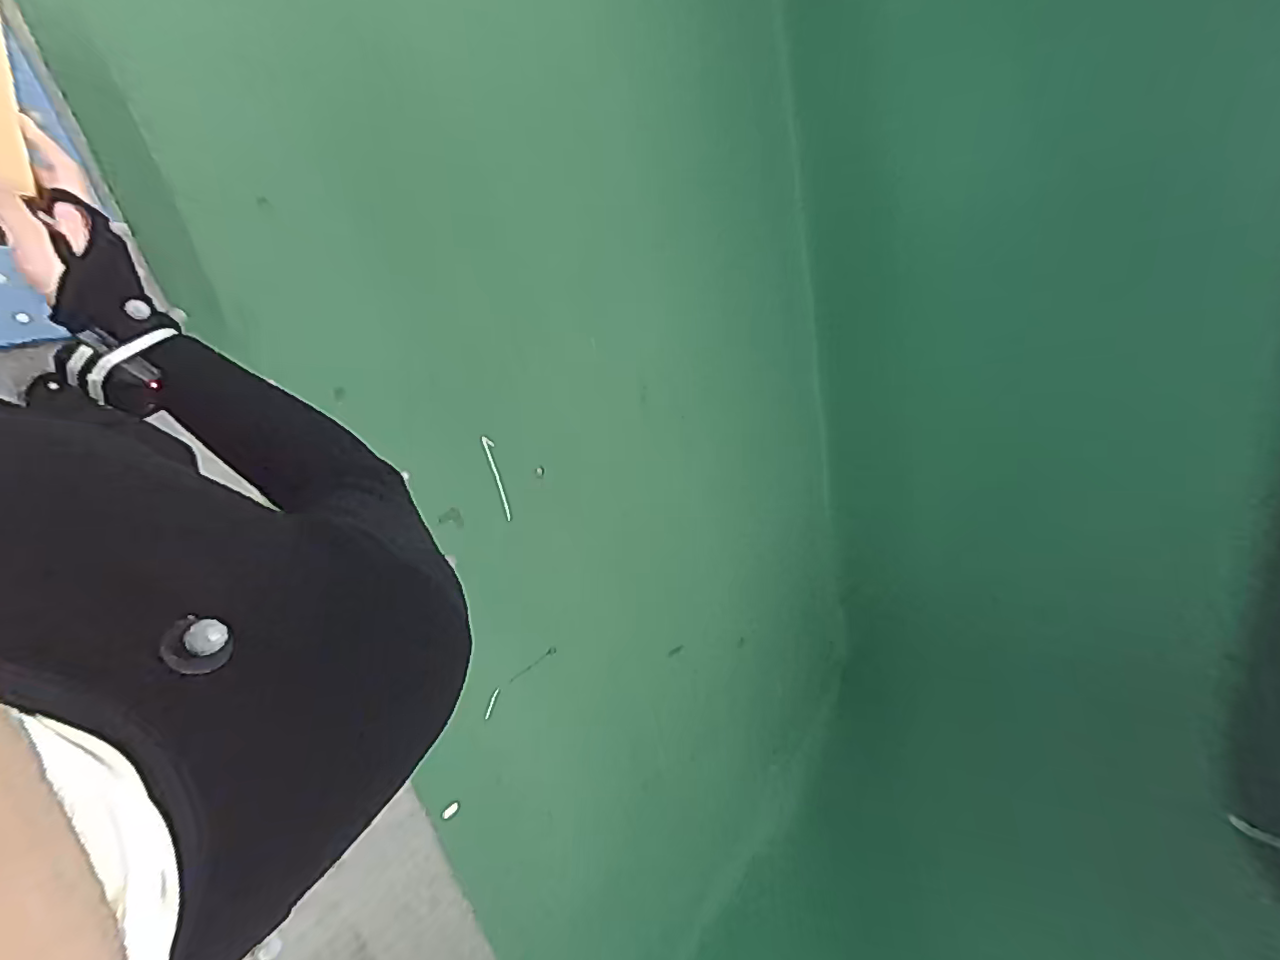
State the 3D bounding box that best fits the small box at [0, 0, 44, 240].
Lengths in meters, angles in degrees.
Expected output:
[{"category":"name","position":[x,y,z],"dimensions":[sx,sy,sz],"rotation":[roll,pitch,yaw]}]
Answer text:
[{"category":"small box","position":[-0.600,-0.306,0.415],"dimensions":[0.168,0.176,0.179],"rotation":[-12,104,-49]}]
